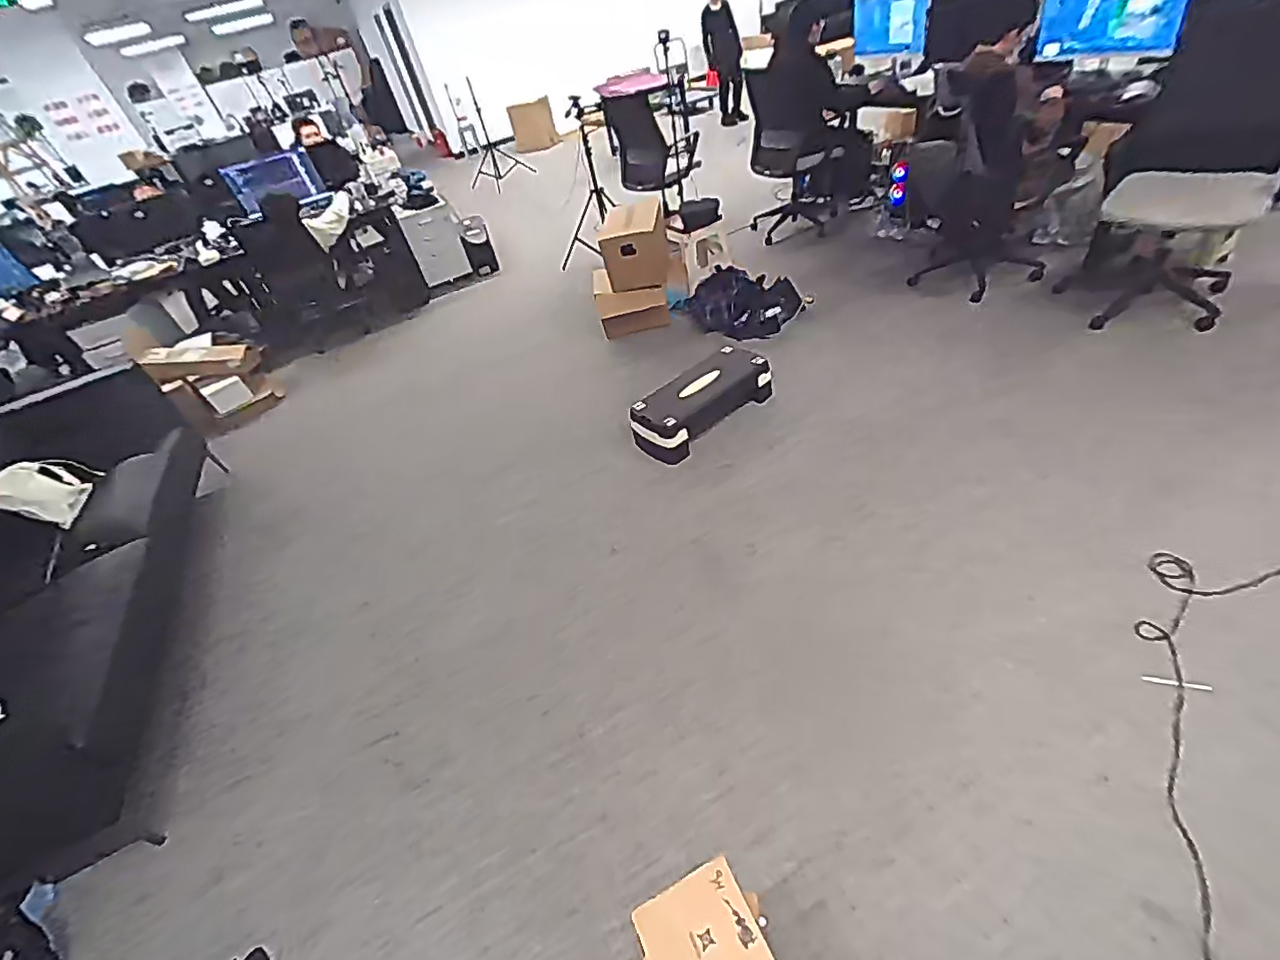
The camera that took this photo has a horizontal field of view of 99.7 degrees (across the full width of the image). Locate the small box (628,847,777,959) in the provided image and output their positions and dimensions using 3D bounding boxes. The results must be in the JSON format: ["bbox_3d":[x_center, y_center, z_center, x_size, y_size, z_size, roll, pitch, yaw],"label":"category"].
[{"bbox_3d":[0.106,0.744,0.878,0.179,0.176,0.168,-26,44,-8],"label":"small box"}]
